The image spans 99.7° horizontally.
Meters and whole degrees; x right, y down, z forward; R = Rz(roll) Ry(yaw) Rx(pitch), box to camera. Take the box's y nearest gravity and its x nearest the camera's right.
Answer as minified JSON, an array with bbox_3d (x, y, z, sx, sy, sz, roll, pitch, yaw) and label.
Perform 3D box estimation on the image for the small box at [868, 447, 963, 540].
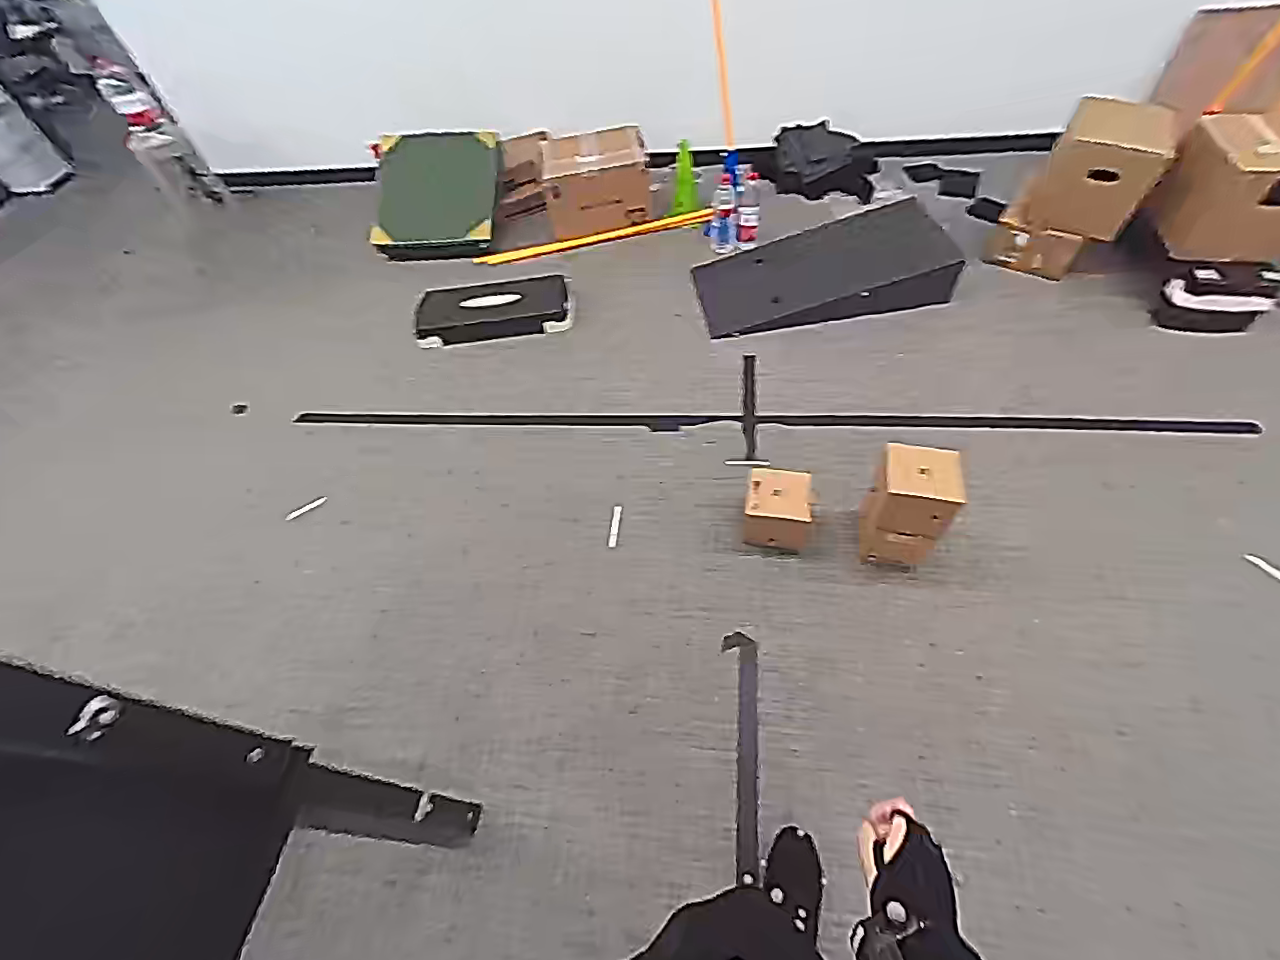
[{"bbox_3d":[0.711,0.039,1.409,0.179,0.176,0.168,9,54,12],"label":"small box"}]

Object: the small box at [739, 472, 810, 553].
[{"bbox_3d":[0.396,0.099,1.597,0.179,0.176,0.168,7,55,10],"label":"small box"}]

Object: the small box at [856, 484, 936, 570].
[{"bbox_3d":[0.720,0.138,1.538,0.168,0.176,0.179,8,55,11],"label":"small box"}]
